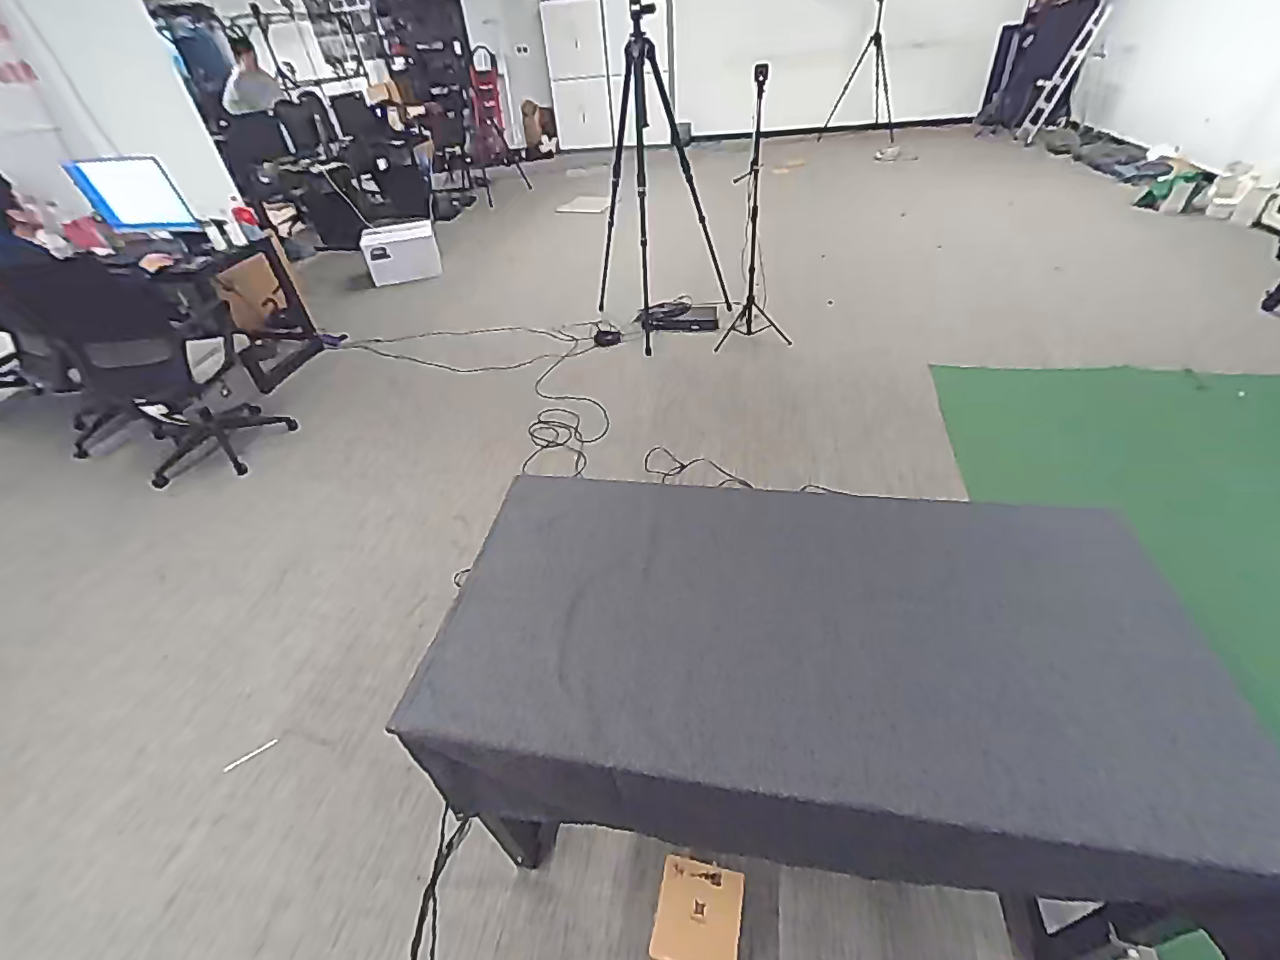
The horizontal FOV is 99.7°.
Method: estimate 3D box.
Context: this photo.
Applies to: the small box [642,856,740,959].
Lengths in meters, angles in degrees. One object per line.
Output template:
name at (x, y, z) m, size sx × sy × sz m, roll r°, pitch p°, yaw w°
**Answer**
small box at (0.111, 0.914, 1.104) m, size 0.168 × 0.176 × 0.179 m, roll 6°, pitch 41°, yaw 15°
